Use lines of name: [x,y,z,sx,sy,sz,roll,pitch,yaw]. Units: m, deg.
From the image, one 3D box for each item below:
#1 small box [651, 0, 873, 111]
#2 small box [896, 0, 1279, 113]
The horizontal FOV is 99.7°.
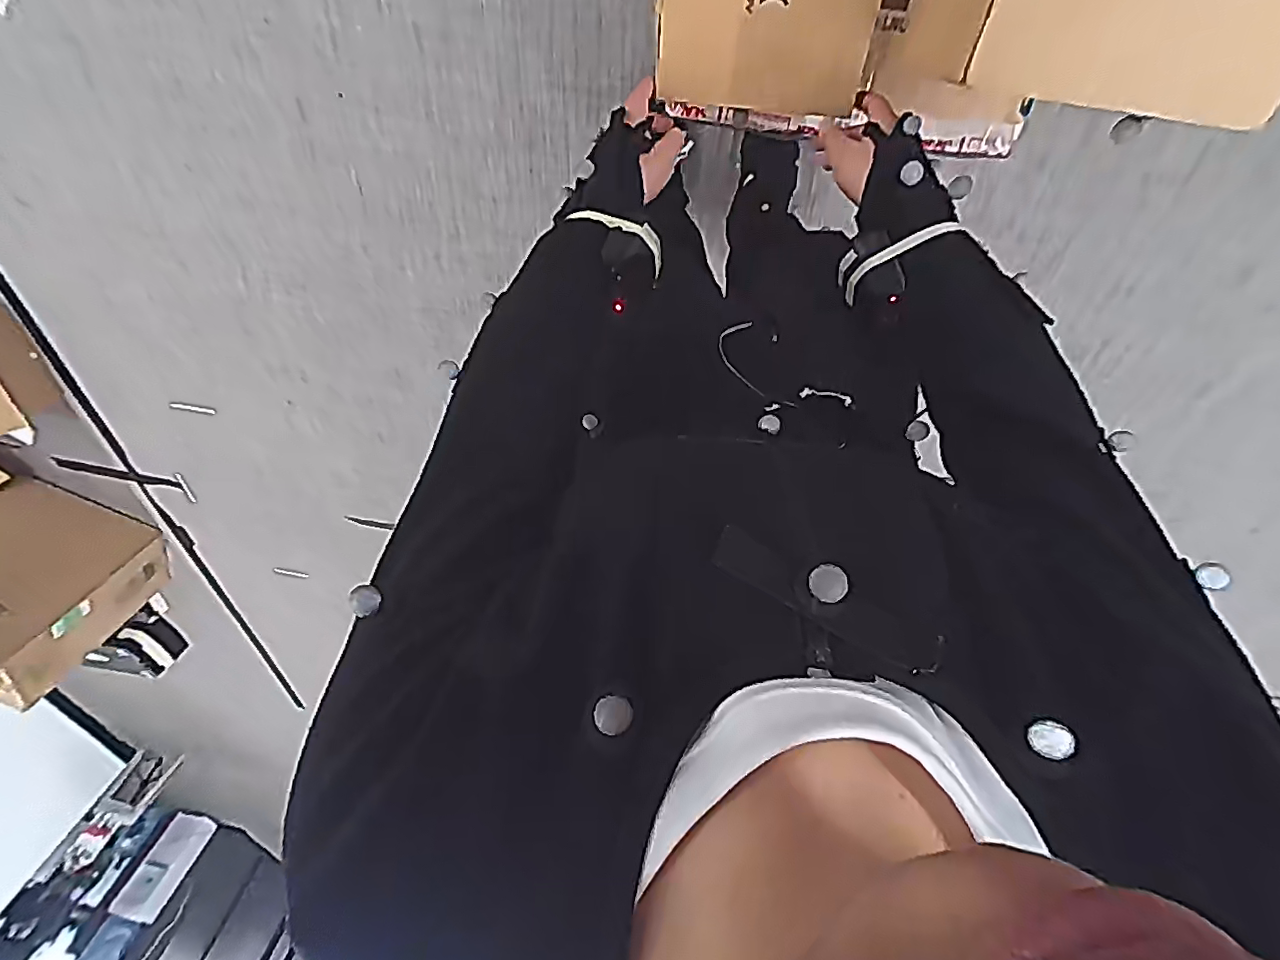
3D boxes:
small box: [0.109,-0.446,0.482,0.179,0.176,0.168,7,133,6]
small box: [0.283,-0.337,0.317,0.179,0.176,0.168,9,132,2]
